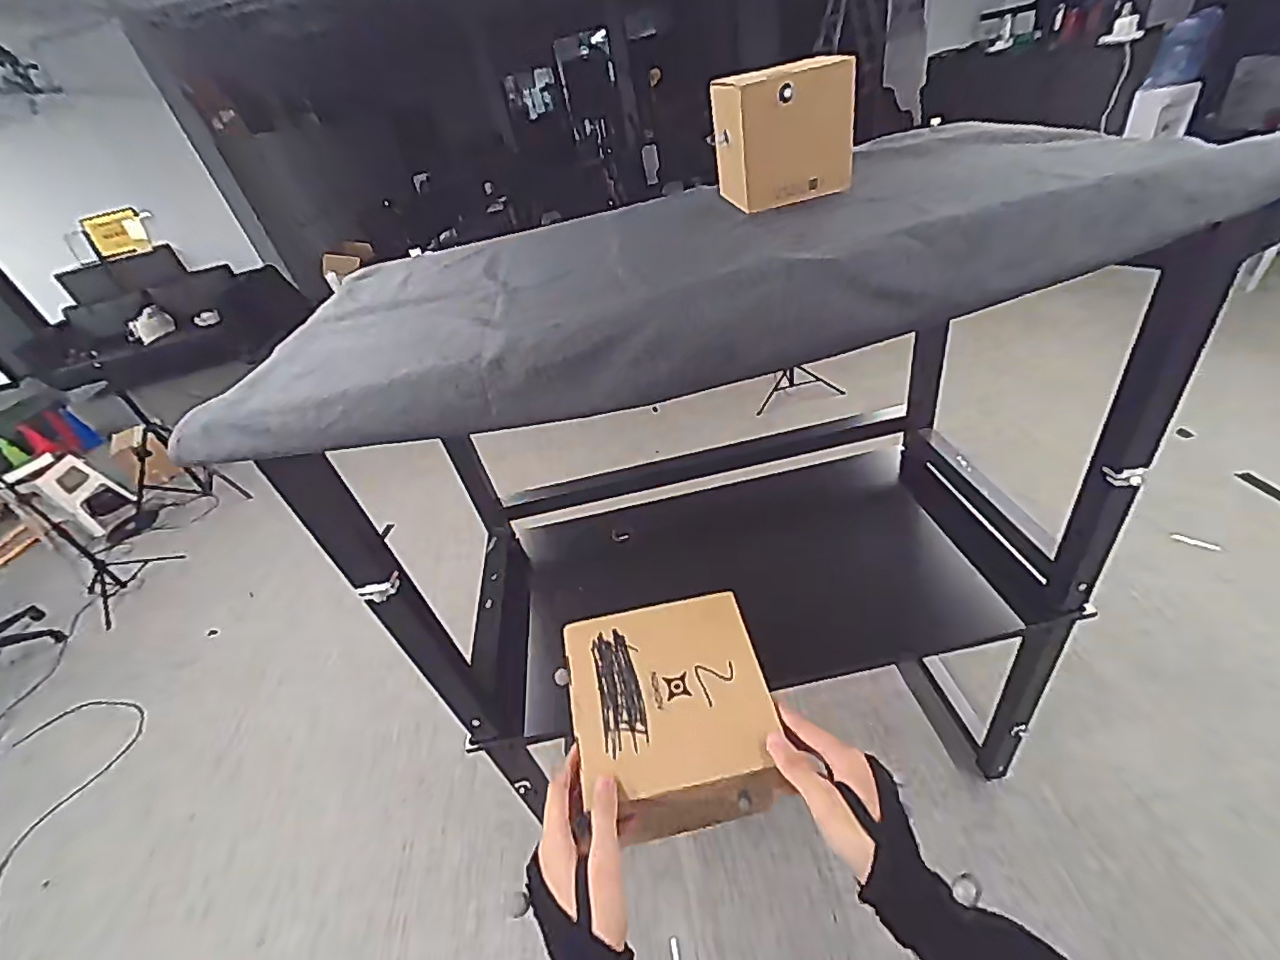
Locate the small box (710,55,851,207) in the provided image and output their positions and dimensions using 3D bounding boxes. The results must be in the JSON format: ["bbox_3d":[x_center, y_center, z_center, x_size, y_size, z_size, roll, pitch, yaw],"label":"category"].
[{"bbox_3d":[0.215,-0.546,0.856,0.168,0.176,0.179,-14,36,1],"label":"small box"}]
